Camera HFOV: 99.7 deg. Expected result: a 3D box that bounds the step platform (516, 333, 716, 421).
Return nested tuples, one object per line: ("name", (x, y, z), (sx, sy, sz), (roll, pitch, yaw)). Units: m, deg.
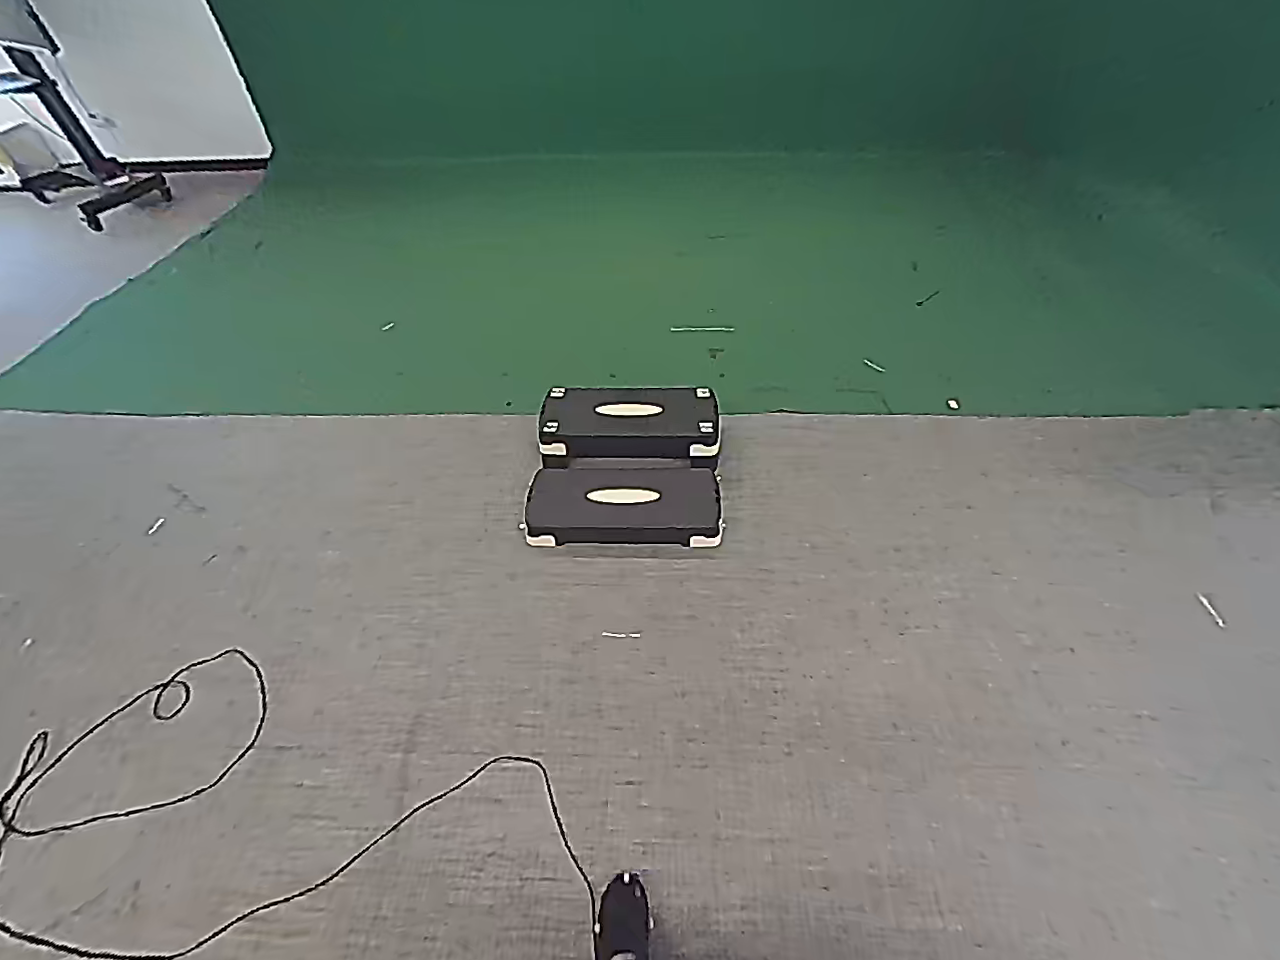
("step platform", (-0.079, -0.367, 1.934), (0.684, 0.204, 0.286), (0, 48, 3))
